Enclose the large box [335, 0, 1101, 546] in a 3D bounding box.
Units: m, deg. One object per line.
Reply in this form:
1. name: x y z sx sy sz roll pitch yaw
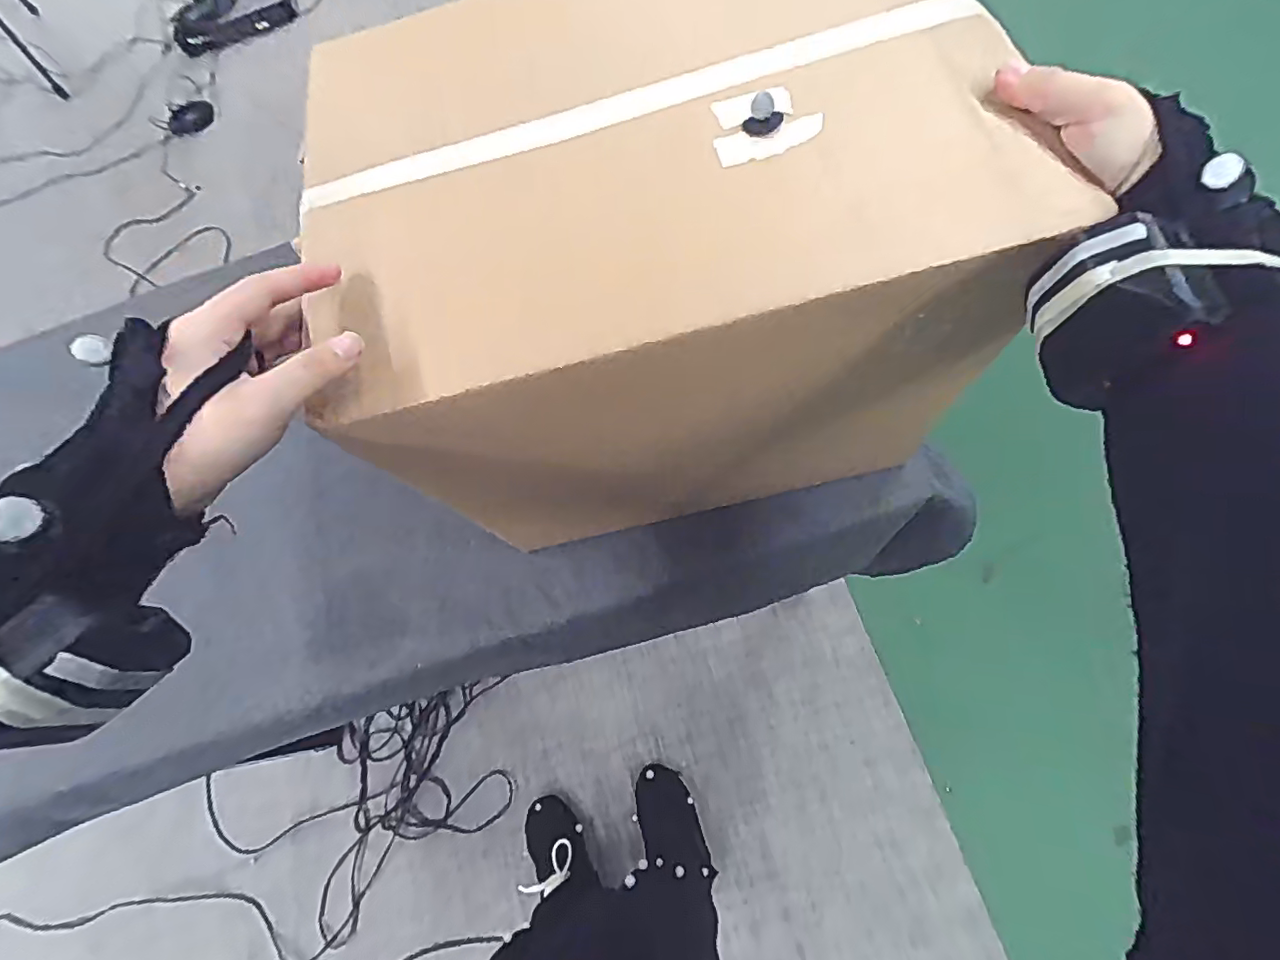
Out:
1. large box: 0.023 -0.164 0.464 0.408 0.320 0.320 -14 70 3
